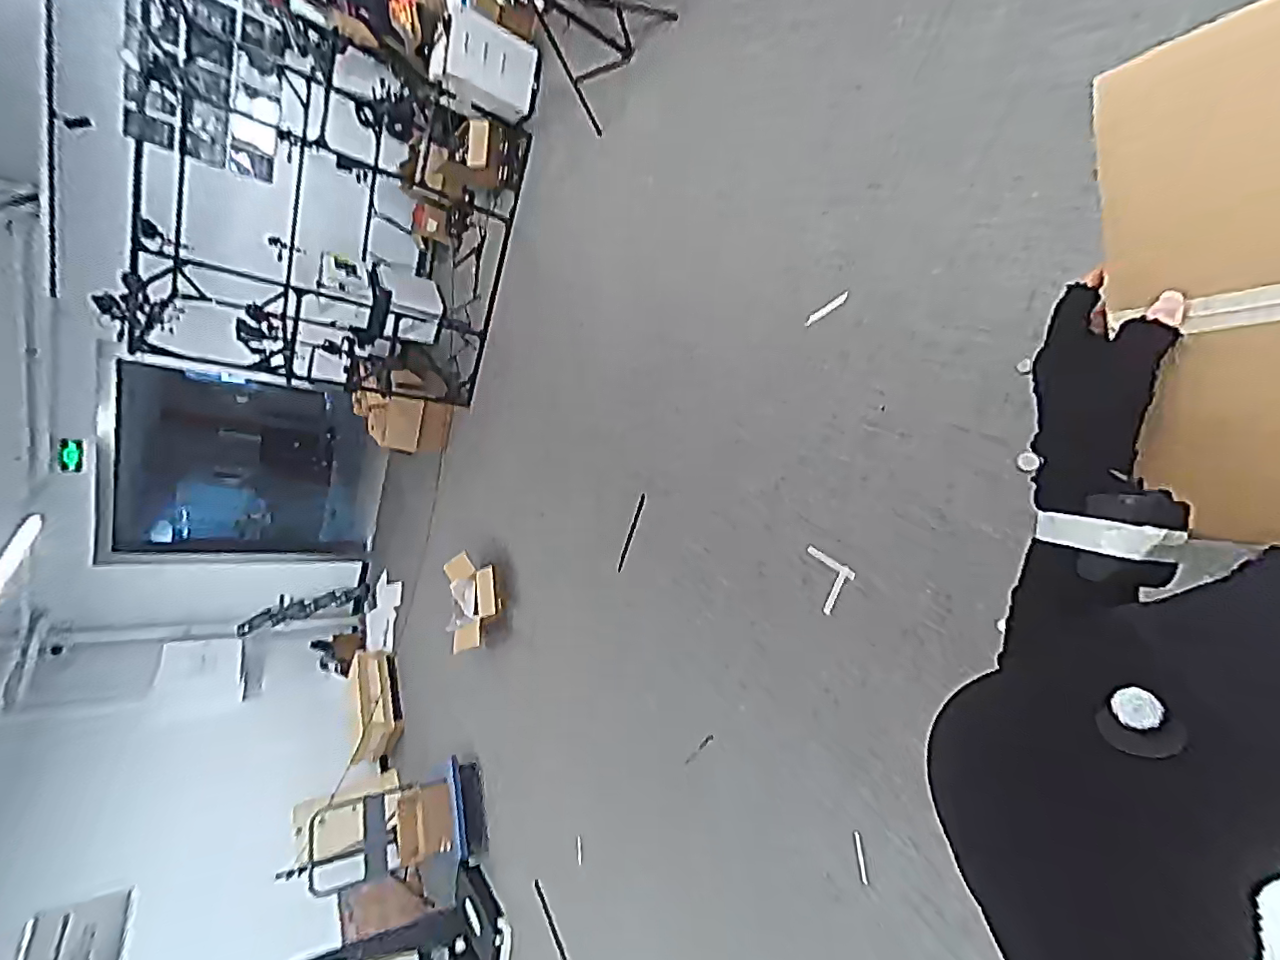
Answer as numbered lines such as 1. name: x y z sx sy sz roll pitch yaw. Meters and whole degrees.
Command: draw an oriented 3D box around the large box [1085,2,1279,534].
1. large box: 0.558 -0.157 0.298 0.408 0.320 0.320 4 115 57
